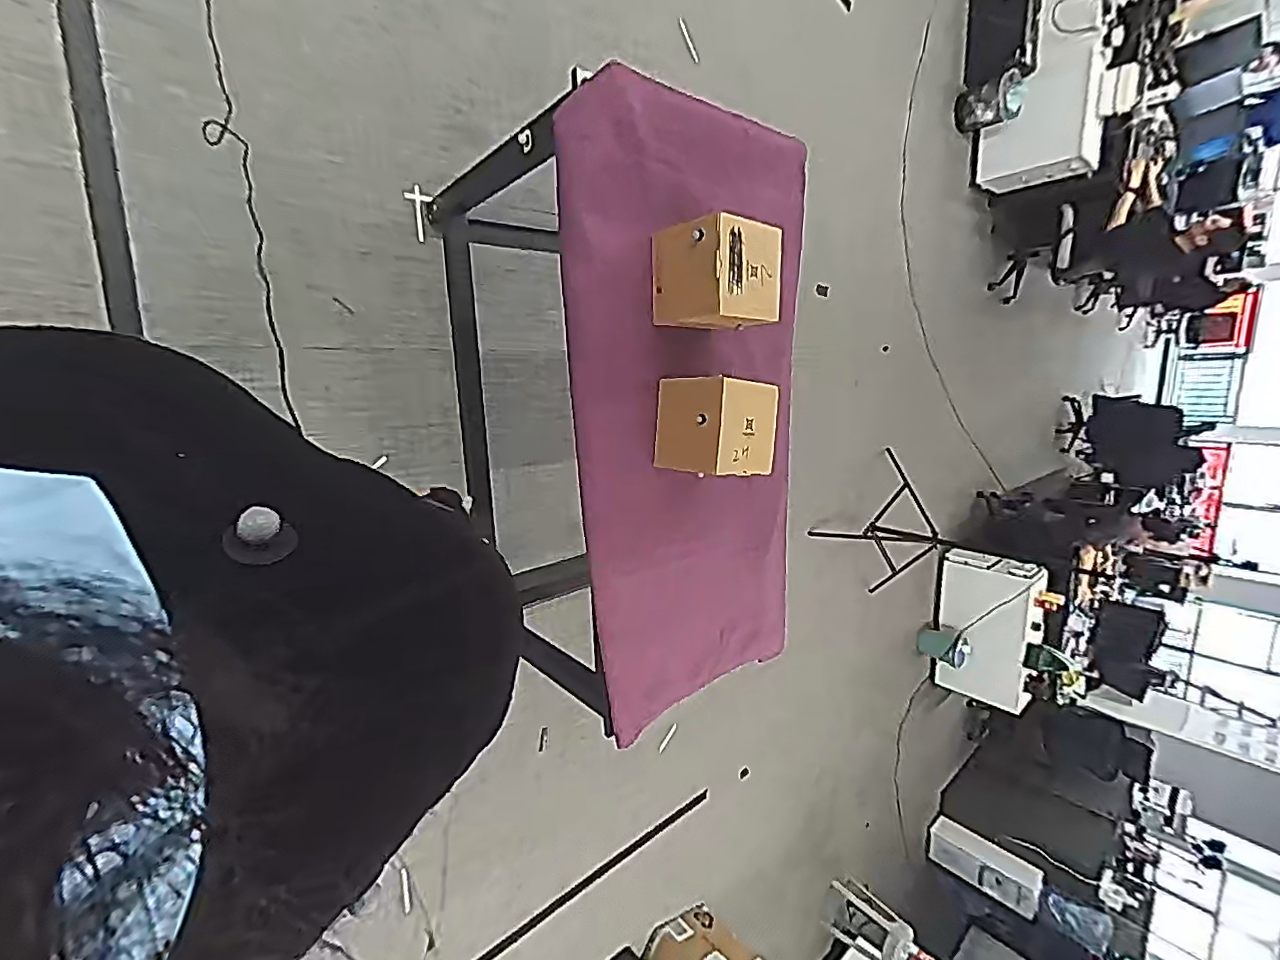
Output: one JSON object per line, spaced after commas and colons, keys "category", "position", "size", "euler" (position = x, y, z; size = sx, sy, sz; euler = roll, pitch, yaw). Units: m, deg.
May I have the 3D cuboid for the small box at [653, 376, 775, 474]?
{"category": "small box", "position": [0.141, -0.106, 1.061], "size": [0.168, 0.176, 0.179], "euler": [0, 98, -41]}
